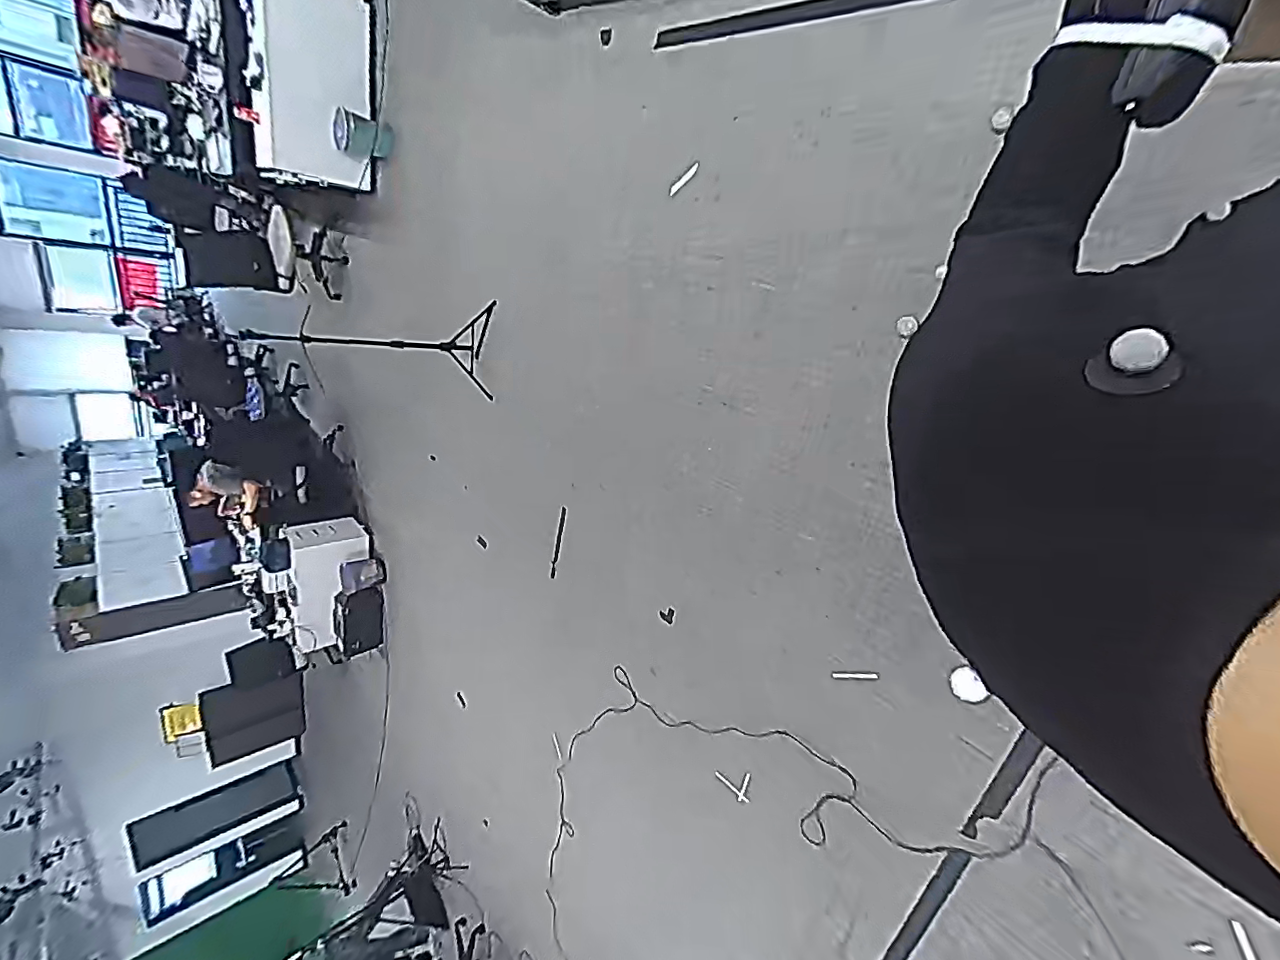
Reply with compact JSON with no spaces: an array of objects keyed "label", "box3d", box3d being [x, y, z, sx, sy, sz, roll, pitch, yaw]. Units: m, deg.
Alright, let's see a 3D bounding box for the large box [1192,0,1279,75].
[{"label":"large box","box3d":[0.586,-0.411,0.239,0.408,0.320,0.320,26,126,34]}]
